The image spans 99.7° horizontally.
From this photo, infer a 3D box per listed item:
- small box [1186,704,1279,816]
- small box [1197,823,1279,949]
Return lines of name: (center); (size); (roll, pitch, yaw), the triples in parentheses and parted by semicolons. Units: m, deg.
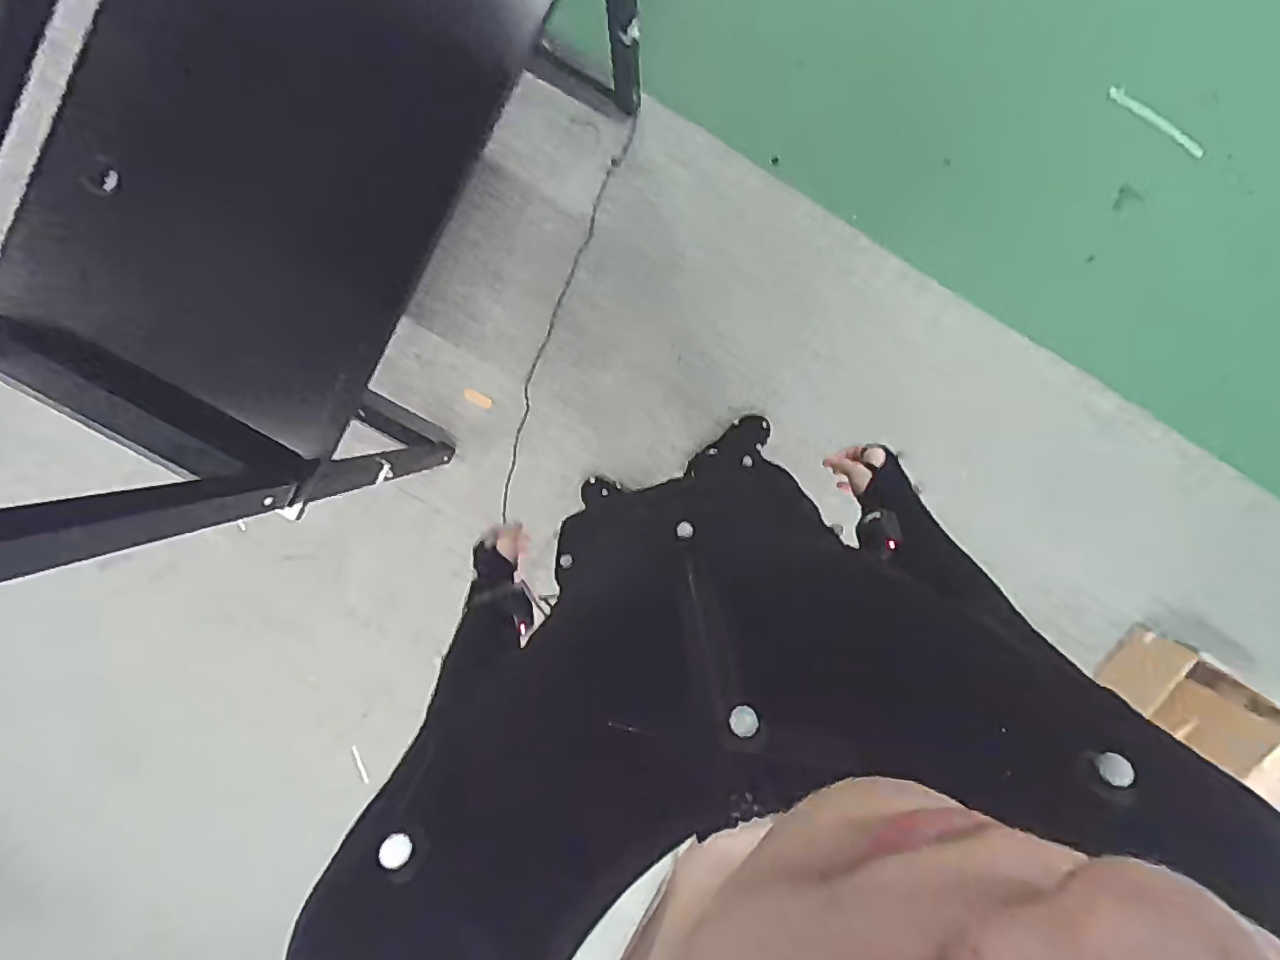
small box: (1.591, 0.718, 1.390); (0.168, 0.176, 0.179); (36, 97, -4)
small box: (1.477, 0.956, 1.258); (0.168, 0.176, 0.179); (24, 97, -2)
